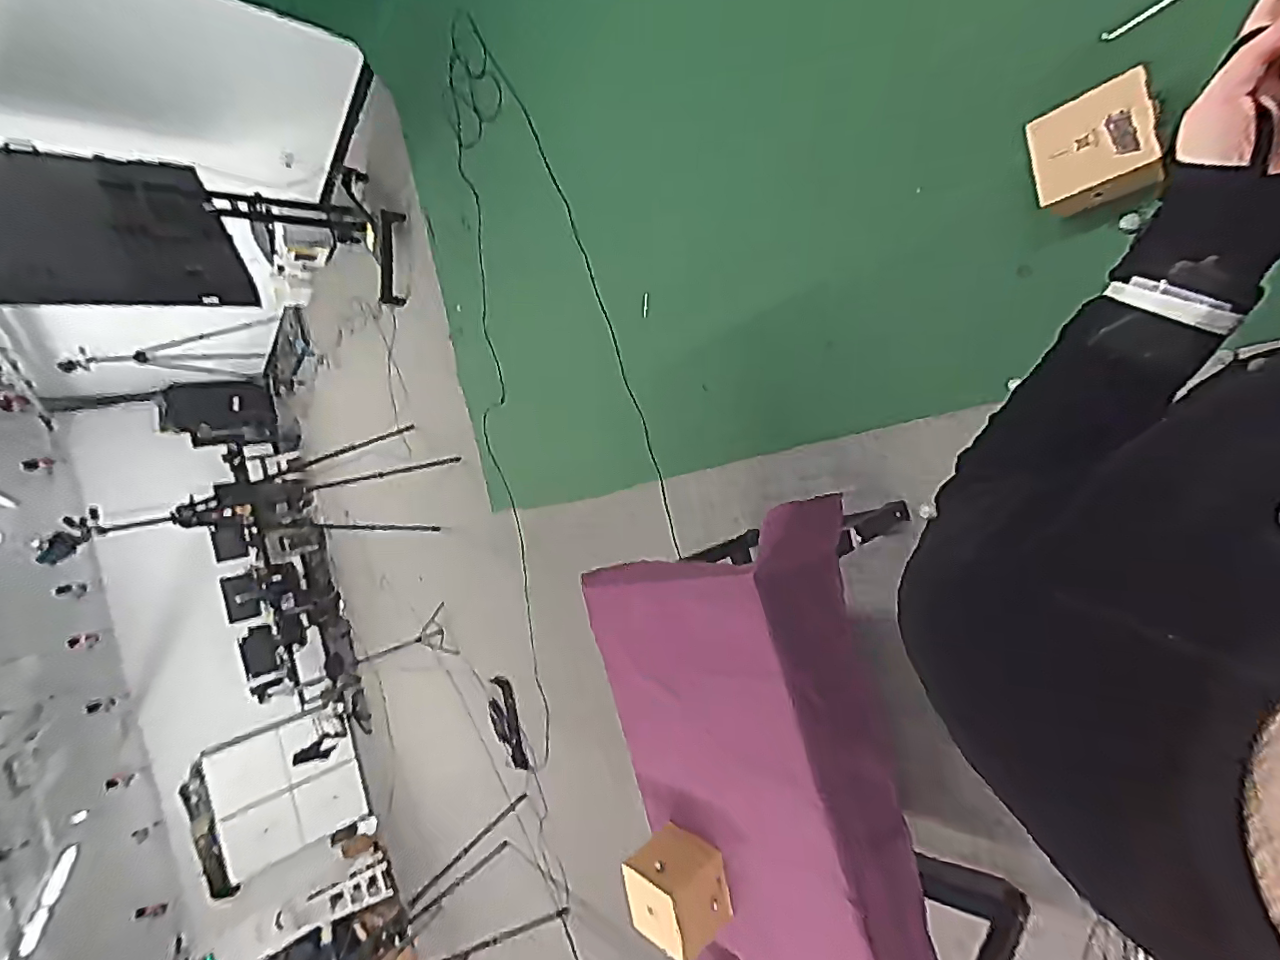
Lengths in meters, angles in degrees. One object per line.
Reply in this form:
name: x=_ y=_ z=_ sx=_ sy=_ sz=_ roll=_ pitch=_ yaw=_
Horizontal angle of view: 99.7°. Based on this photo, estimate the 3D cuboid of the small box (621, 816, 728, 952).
small box: x=0.084 y=0.947 z=1.293 sx=0.179 sy=0.176 sz=0.168 roll=-6 pitch=96 yaw=48

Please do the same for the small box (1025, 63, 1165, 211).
small box: x=0.883 y=-0.647 z=1.046 sx=0.179 sy=0.176 sz=0.168 roll=-9 pitch=94 yaw=51
